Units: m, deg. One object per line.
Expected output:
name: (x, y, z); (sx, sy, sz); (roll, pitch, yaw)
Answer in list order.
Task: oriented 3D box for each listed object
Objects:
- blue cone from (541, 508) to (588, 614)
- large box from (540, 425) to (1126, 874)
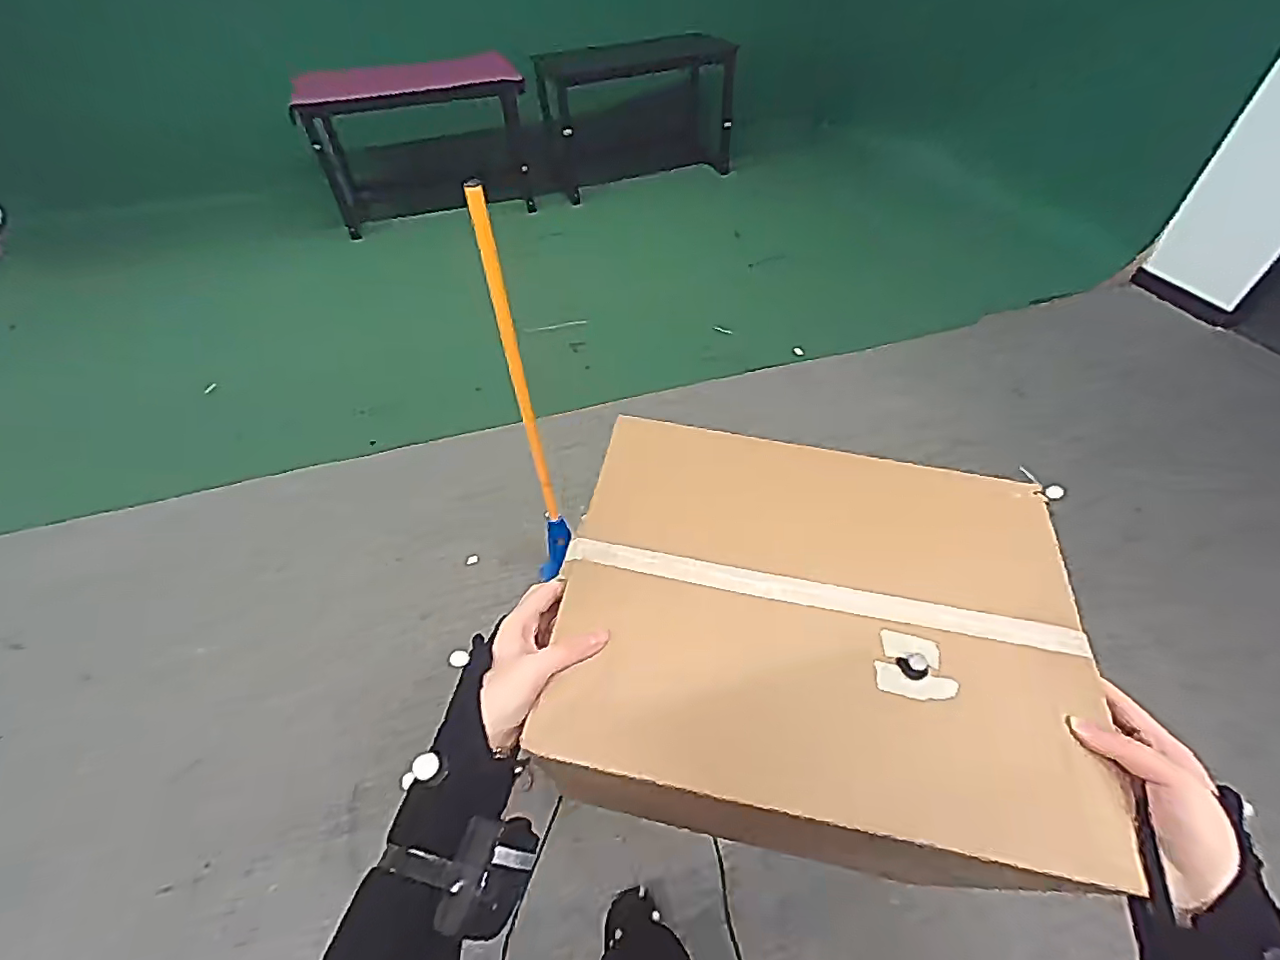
blue cone: (-0.225, 0.224, 1.597); (0.193, 0.380, 0.192); (-6, 47, -3)
large box: (0.142, 0.184, 0.569); (0.408, 0.320, 0.320); (11, 55, 5)
